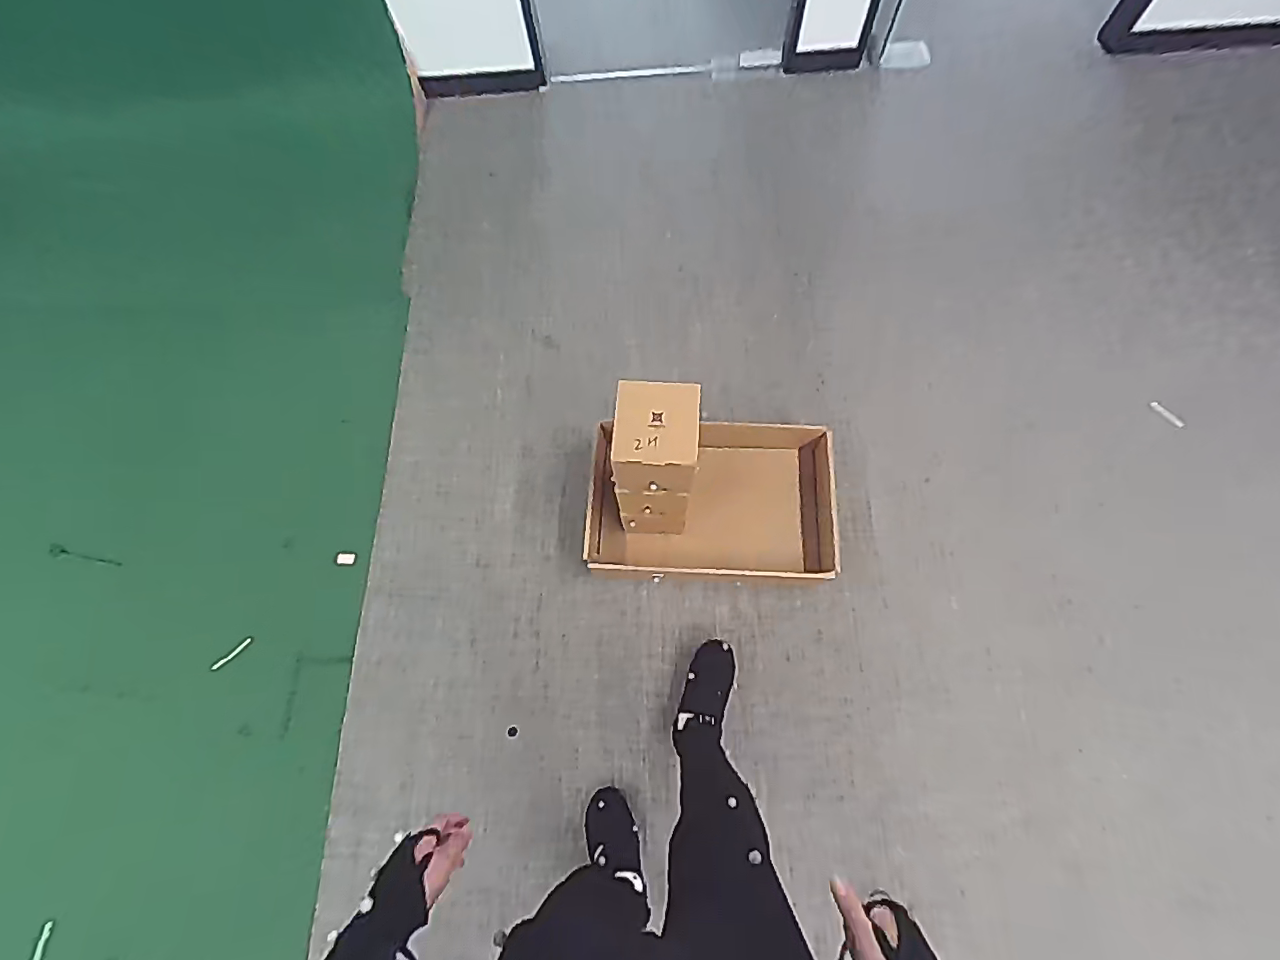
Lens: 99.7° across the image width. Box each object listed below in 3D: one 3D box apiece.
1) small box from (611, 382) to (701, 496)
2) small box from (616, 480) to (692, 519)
[{"bbox_3d":[0.034,-0.081,1.110,0.168,0.176,0.179,3,70,4],"label":"small box"},{"bbox_3d":[0.038,-0.019,1.263,0.168,0.176,0.179,3,70,3],"label":"small box"}]
